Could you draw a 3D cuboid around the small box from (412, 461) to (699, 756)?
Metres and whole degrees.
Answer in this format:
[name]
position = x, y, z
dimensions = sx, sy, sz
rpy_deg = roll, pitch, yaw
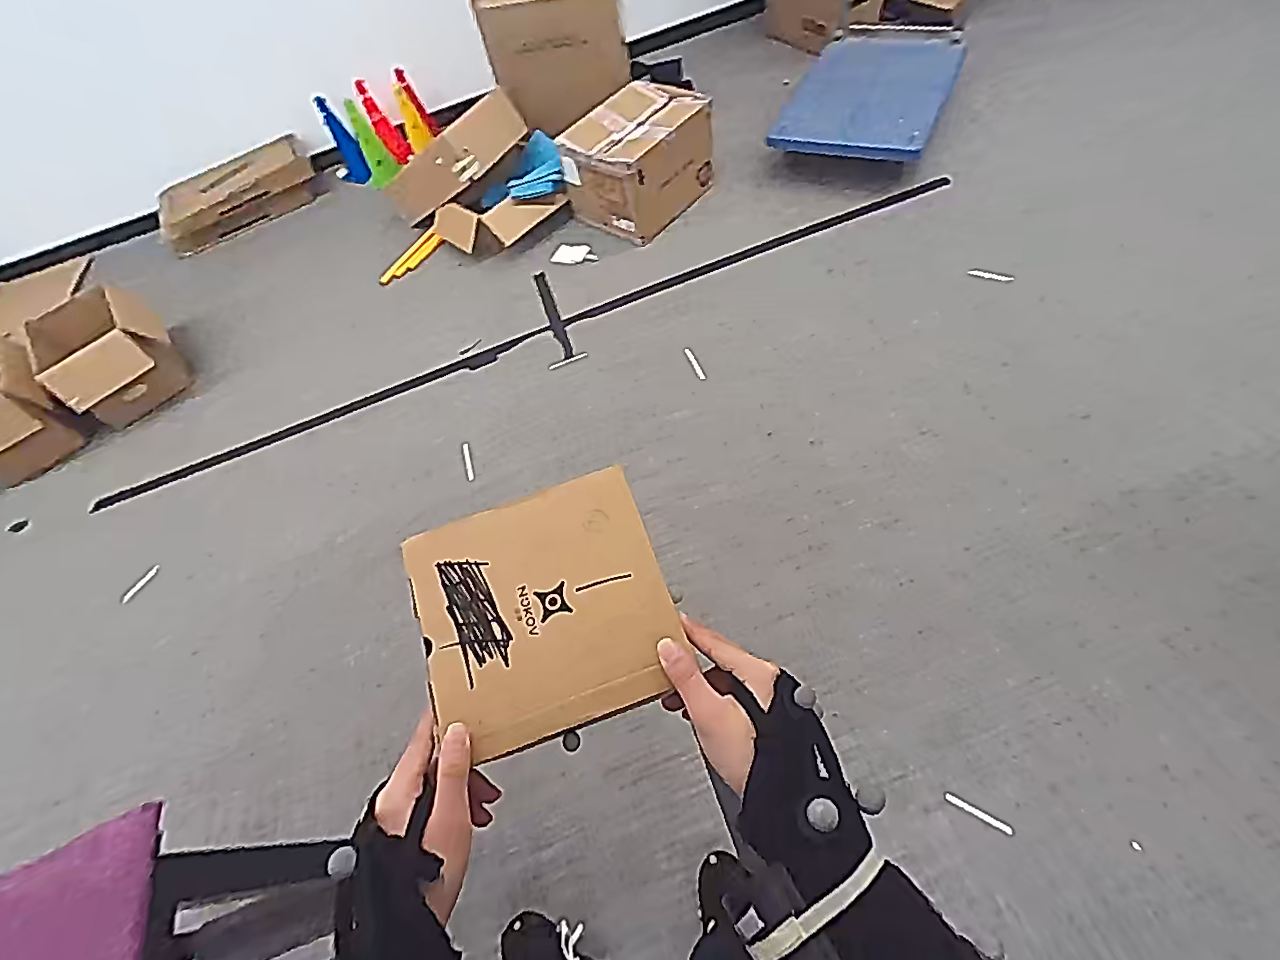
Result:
[small box]
position = -0.059, 0.112, 0.452
dimensions = 0.179, 0.176, 0.168
rpy_deg = -19, 67, -4
